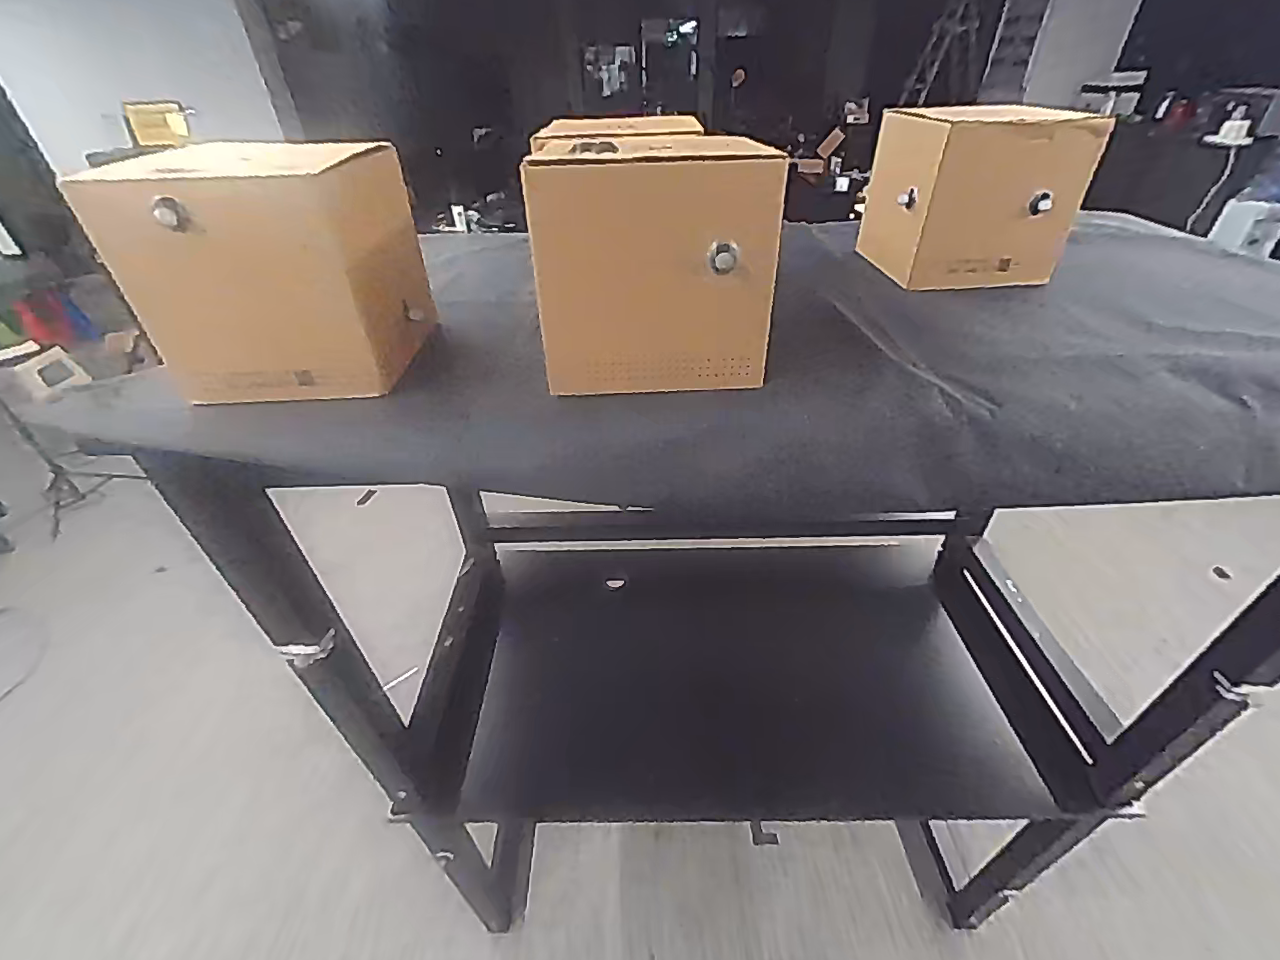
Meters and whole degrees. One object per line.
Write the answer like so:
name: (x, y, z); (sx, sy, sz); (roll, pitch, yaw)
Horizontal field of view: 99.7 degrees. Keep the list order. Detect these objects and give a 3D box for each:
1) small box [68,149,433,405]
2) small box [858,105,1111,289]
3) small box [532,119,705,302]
small box: (-0.295, -0.179, 0.468); (0.168, 0.176, 0.179); (-3, 37, -1)
small box: (0.382, -0.334, 0.643); (0.168, 0.176, 0.179); (-2, 38, -1)
small box: (-0.019, -0.324, 0.652); (0.179, 0.176, 0.168); (-1, 38, 2)
